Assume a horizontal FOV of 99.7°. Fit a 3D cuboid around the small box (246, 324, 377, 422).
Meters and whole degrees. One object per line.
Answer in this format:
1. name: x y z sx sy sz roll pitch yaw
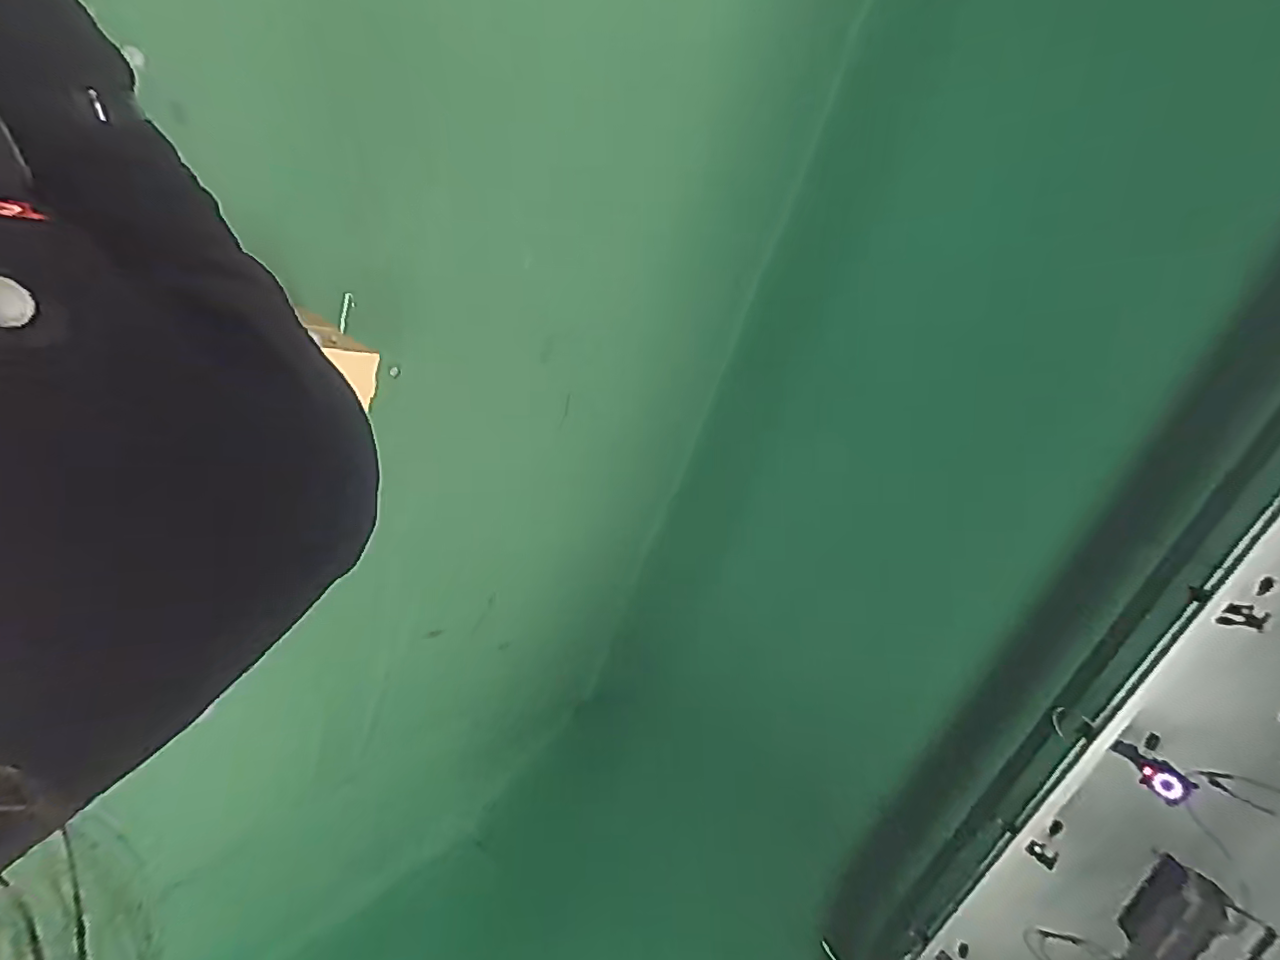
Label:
1. small box: -0.724 -0.236 1.194 0.179 0.176 0.168 -11 125 -59
